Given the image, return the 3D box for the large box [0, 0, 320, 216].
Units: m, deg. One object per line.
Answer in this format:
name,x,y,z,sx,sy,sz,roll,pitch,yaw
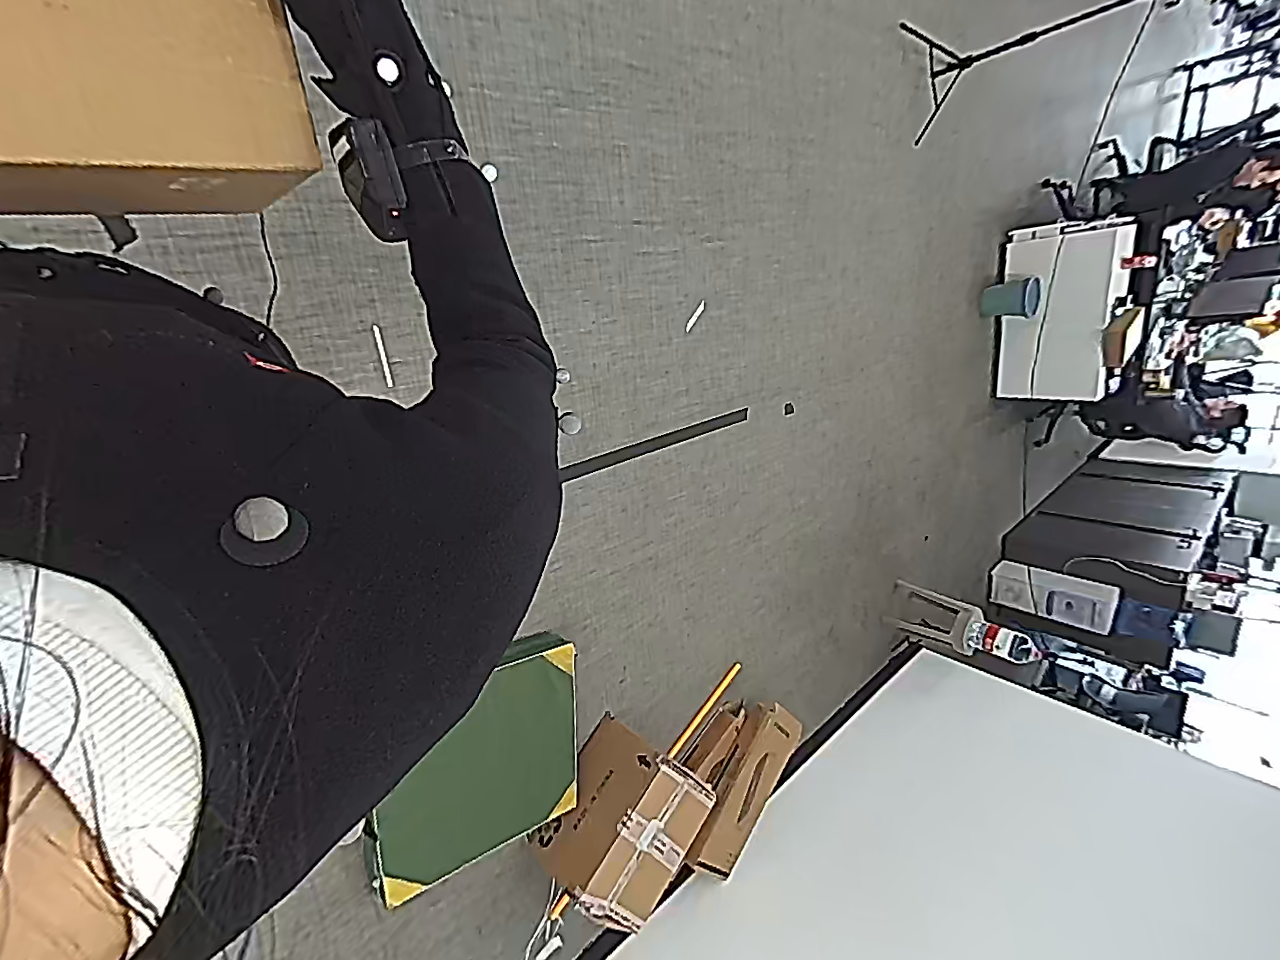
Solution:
large box,-0.487,-0.338,0.320,0.408,0.320,0.320,-23,120,-36
